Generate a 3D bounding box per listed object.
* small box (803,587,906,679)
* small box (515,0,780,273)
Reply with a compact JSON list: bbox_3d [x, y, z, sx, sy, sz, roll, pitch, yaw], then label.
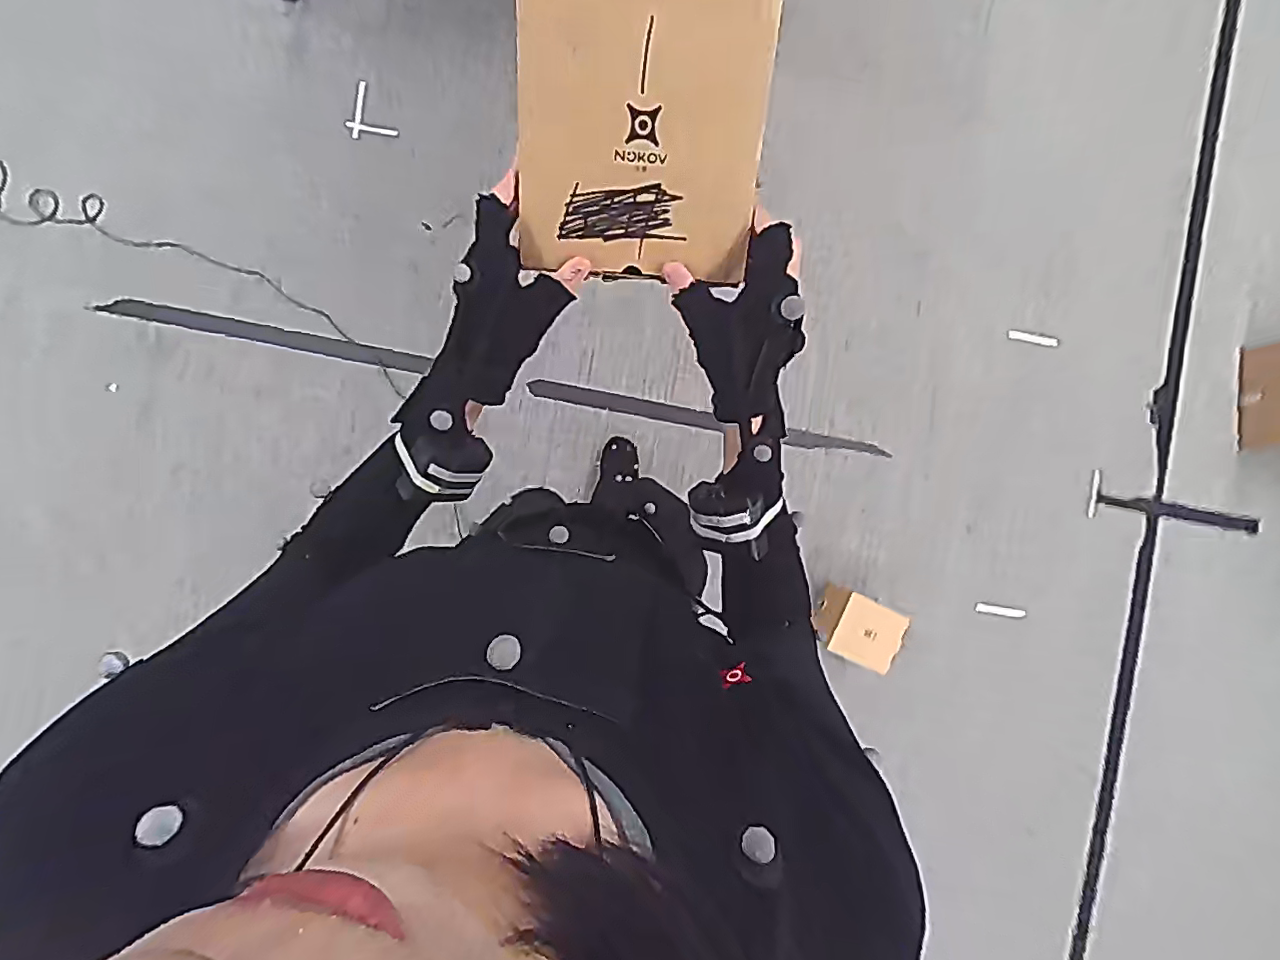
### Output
[{"bbox_3d":[0.578,0.408,1.479,0.179,0.176,0.168,26,88,-3],"label":"small box"},{"bbox_3d":[0.002,-0.269,0.430,0.168,0.176,0.179,4,114,-1],"label":"small box"}]
